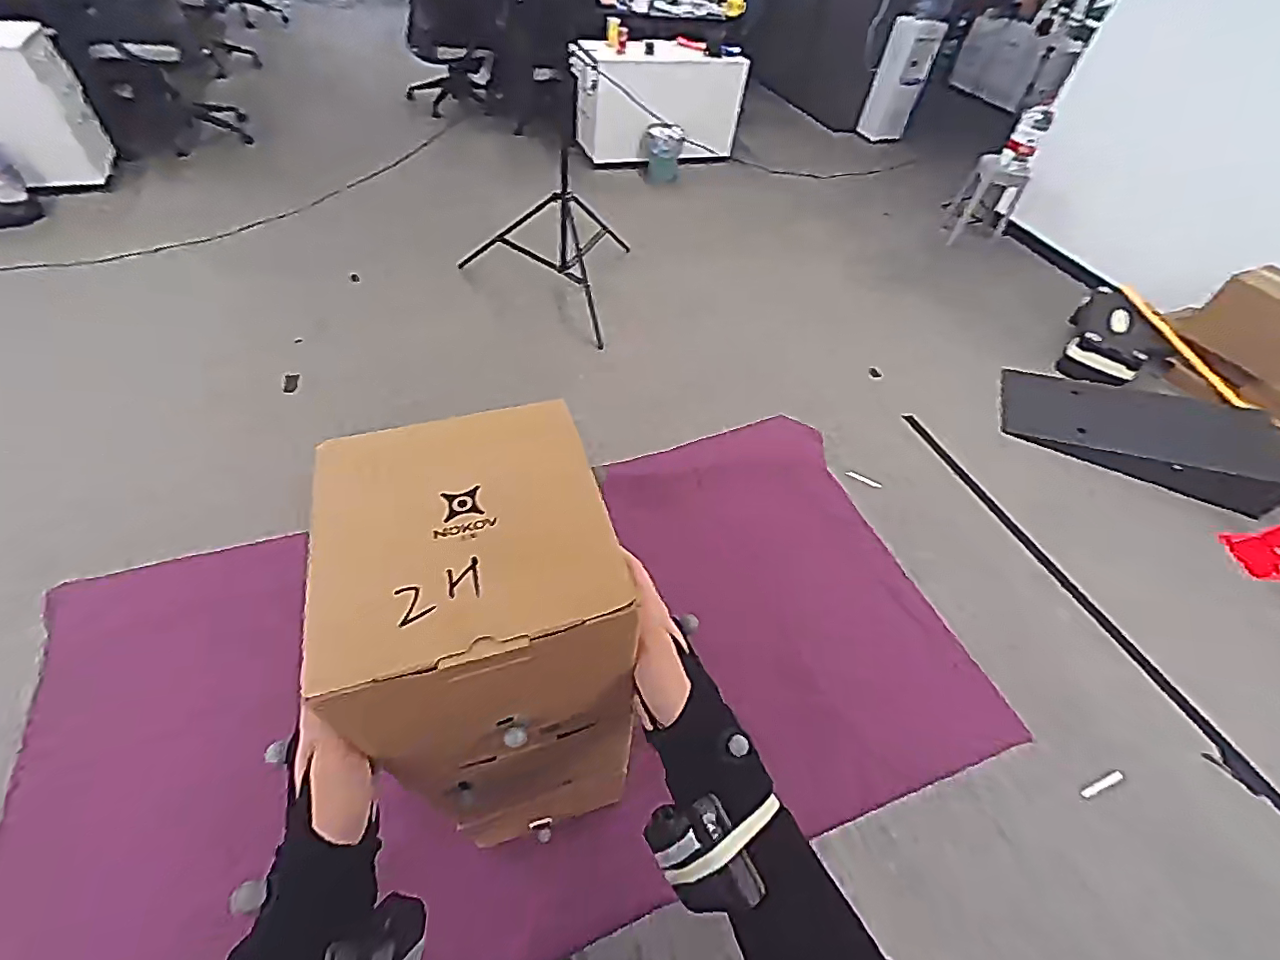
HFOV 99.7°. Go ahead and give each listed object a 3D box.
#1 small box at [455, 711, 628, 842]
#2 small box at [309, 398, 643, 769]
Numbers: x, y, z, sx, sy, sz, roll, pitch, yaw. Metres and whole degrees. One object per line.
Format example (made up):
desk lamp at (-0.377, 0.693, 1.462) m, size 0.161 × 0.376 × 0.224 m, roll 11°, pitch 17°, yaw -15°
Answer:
small box at (-0.122, 0.288, 0.629) m, size 0.168 × 0.176 × 0.179 m, roll -12°, pitch 54°, yaw -15°
small box at (-0.105, 0.071, 0.380) m, size 0.168 × 0.176 × 0.179 m, roll -12°, pitch 51°, yaw -14°
